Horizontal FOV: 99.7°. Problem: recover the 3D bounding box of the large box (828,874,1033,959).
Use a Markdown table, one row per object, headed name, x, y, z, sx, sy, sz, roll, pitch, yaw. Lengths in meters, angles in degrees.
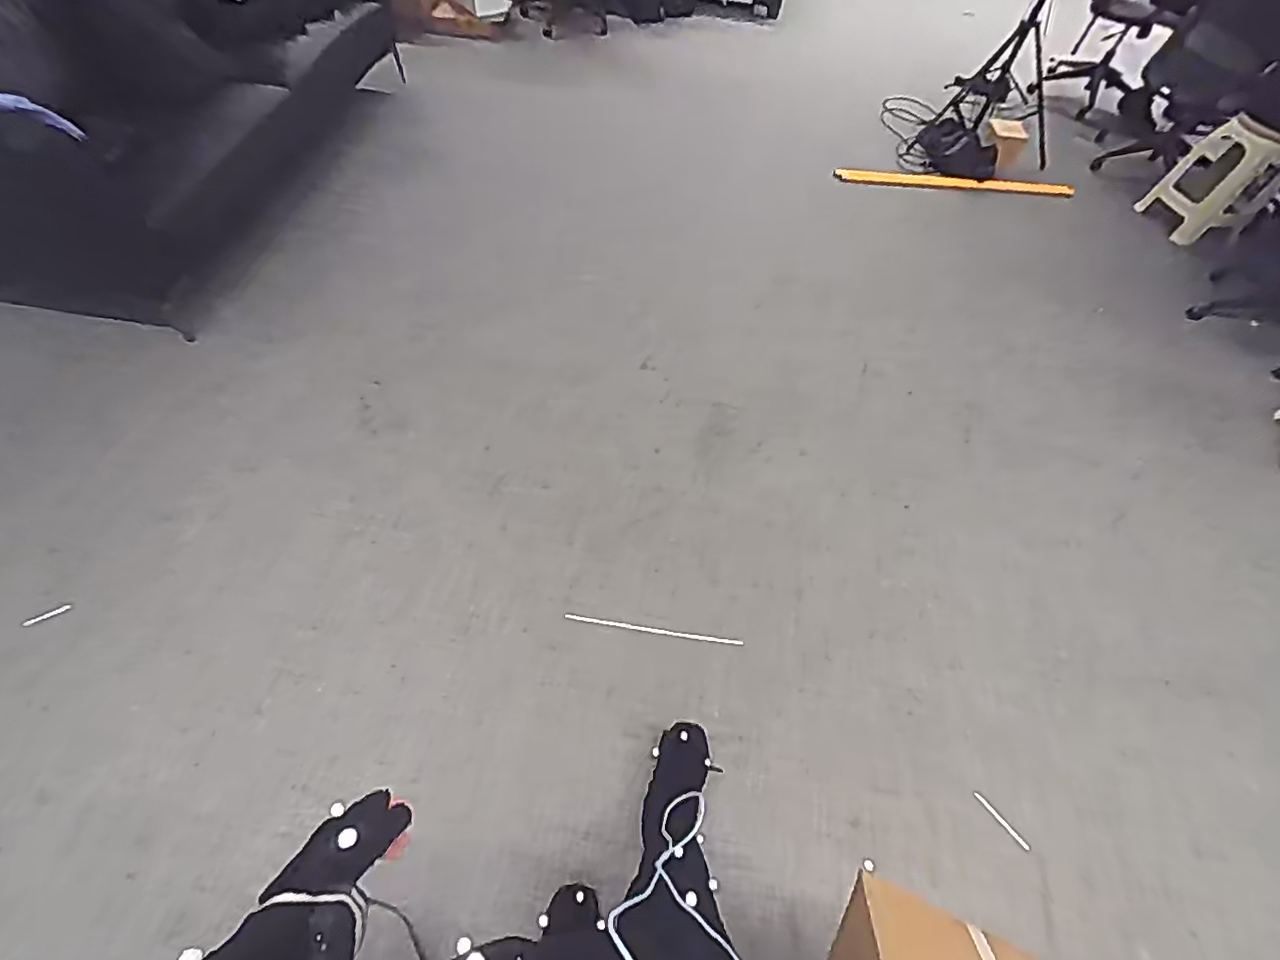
| name | x | y | z | sx | sy | sz | roll | pitch | yaw |
| --- | --- | --- | --- | --- | --- | --- | --- | --- | --- |
| large box | 0.372 | 0.779 | 0.599 | 0.320 | 0.408 | 0.320 | 22 | 92 | 15 |
